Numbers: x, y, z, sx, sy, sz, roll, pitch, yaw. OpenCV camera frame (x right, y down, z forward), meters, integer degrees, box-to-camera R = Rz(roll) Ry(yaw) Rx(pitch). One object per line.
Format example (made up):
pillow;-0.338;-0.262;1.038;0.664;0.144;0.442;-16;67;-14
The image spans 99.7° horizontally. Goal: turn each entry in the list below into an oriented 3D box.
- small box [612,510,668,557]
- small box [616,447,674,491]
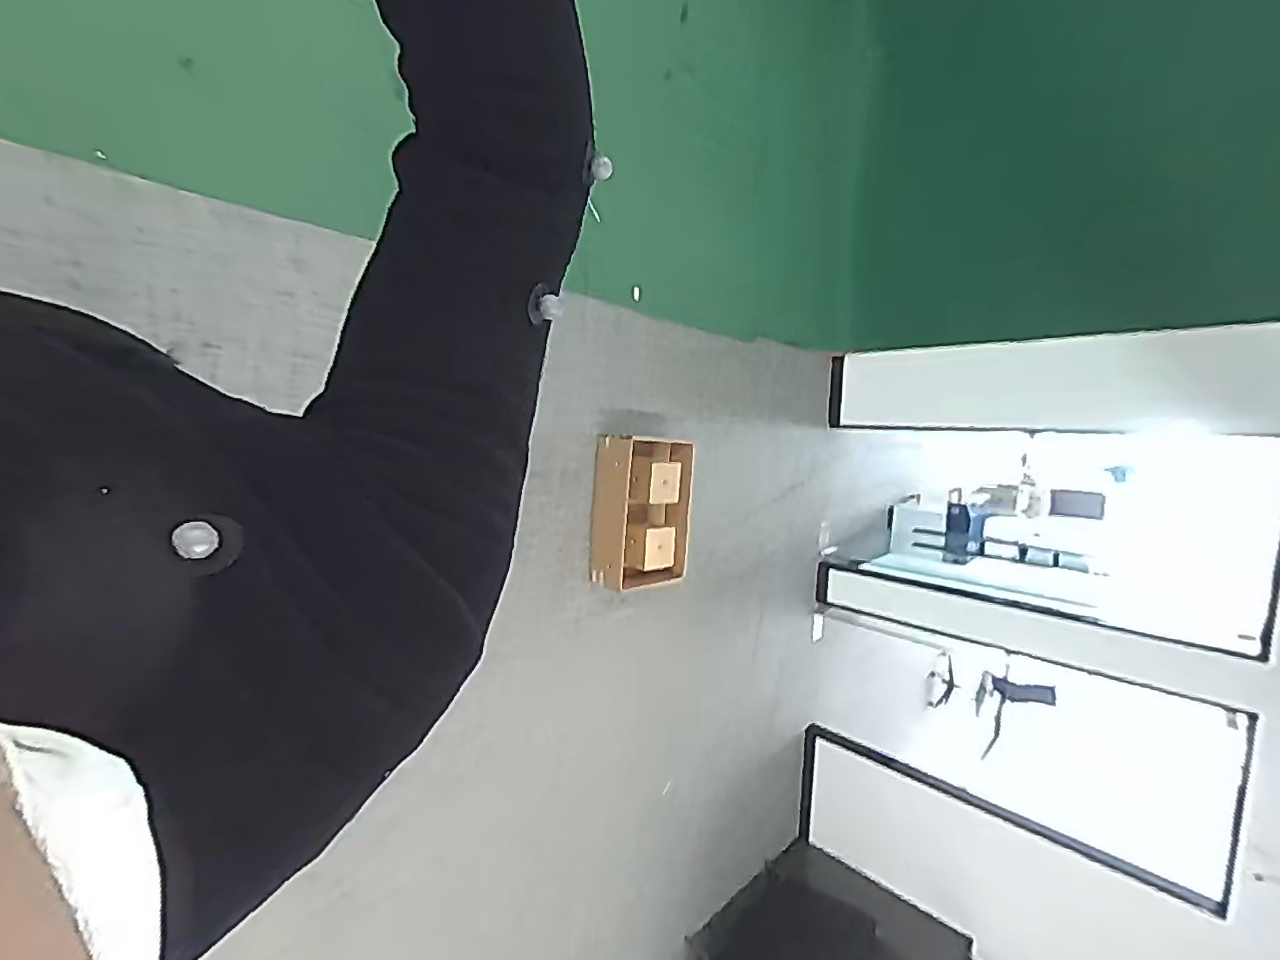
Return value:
small box;-0.002;0.220;2.279;0.179;0.176;0.168;-2;97;-46
small box;0.018;-0.046;2.254;0.179;0.176;0.168;-1;98;-46
